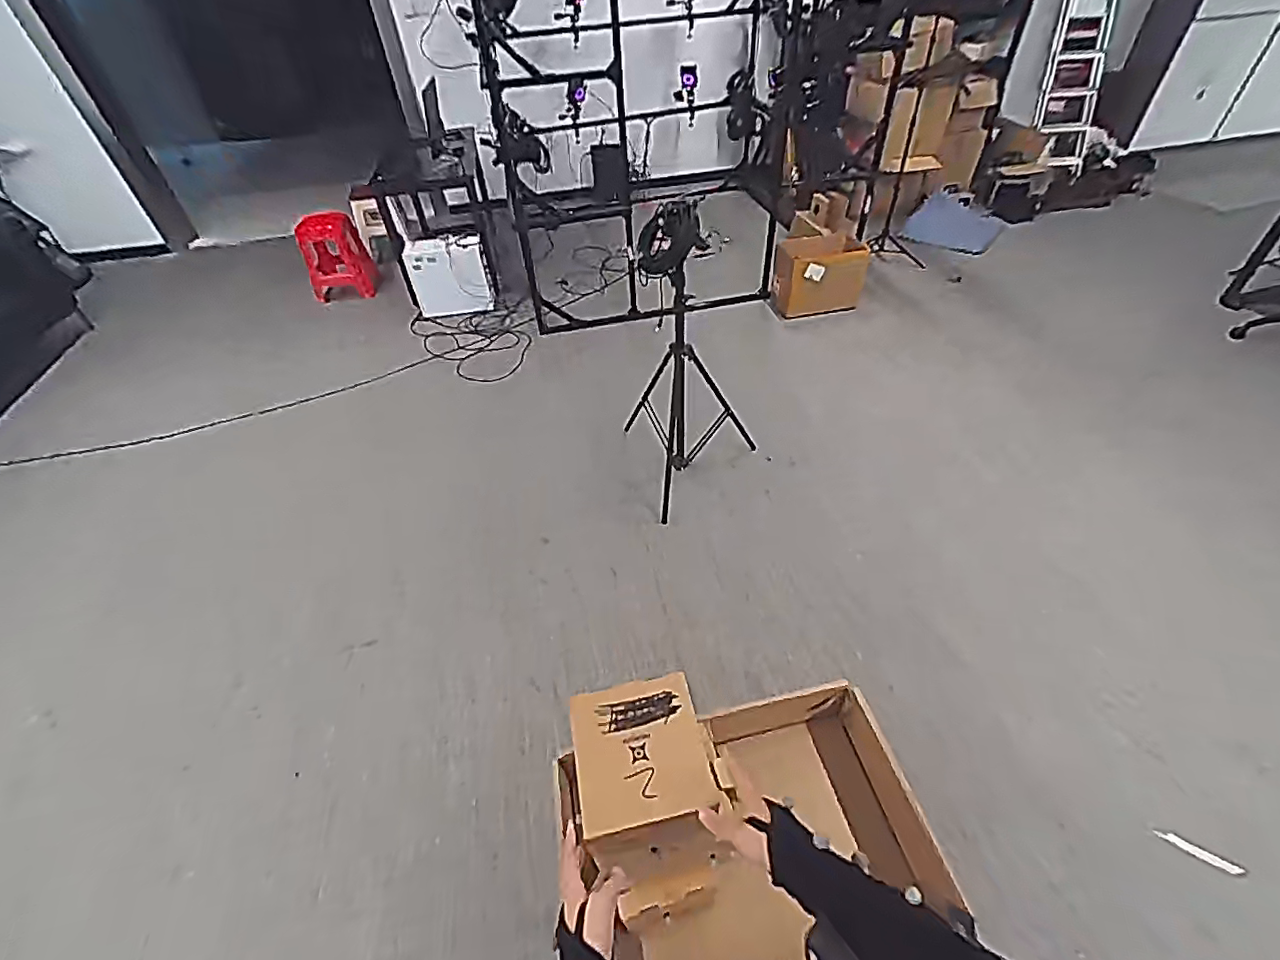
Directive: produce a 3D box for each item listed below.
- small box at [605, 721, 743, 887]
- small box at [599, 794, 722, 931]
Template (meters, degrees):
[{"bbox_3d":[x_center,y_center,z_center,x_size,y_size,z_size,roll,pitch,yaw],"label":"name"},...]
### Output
[{"bbox_3d":[0.048,0.512,0.855,0.179,0.176,0.168,-11,44,-6],"label":"small box"},{"bbox_3d":[0.033,0.650,0.949,0.168,0.176,0.179,-15,45,-9],"label":"small box"}]
